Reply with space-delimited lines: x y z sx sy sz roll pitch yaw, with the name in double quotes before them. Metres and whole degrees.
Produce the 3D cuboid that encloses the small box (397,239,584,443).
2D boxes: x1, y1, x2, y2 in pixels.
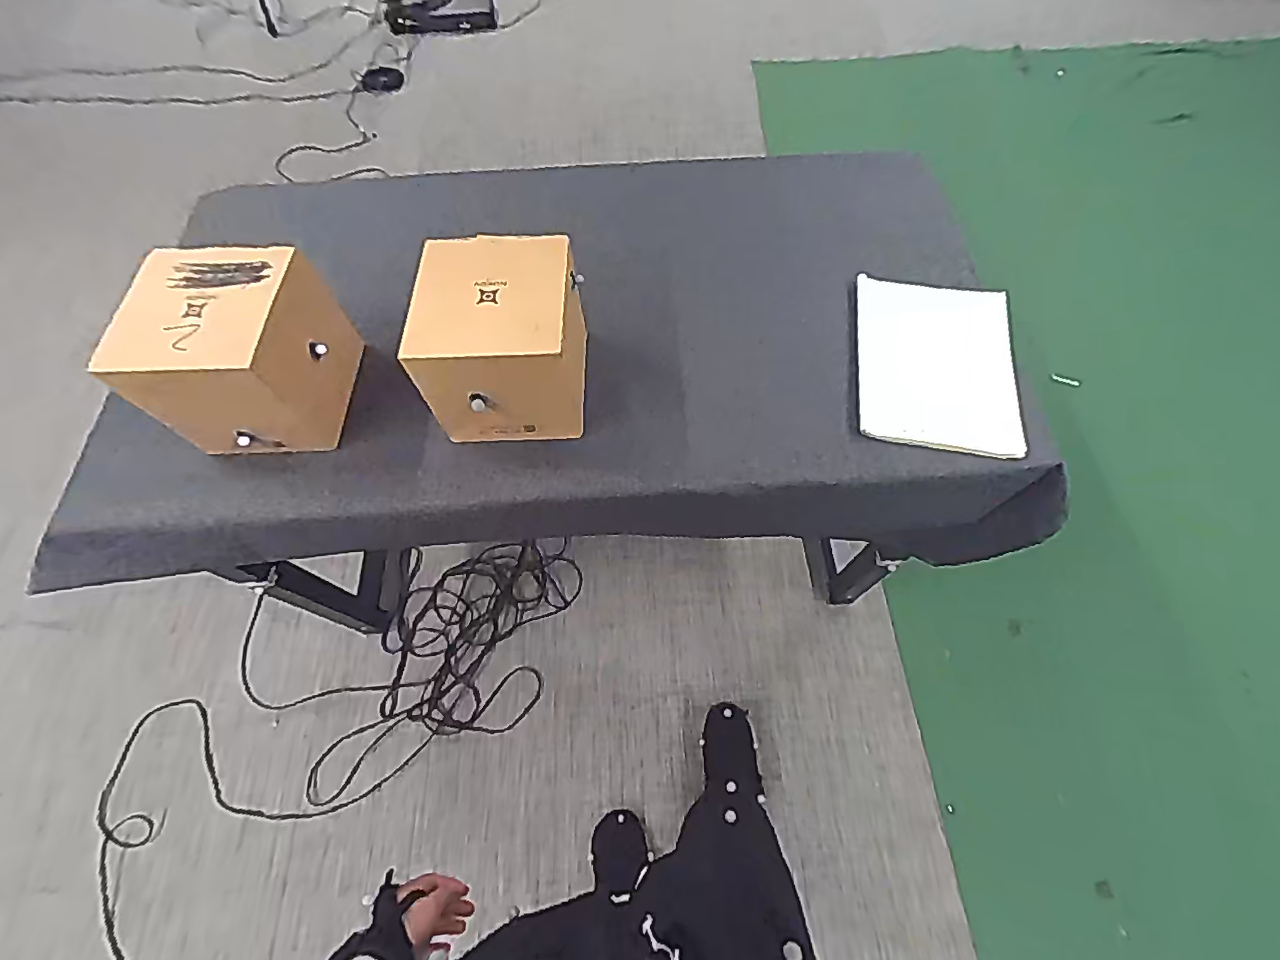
"small box" -0.158 -0.153 0.640 0.168 0.176 0.179 -2 62 1
